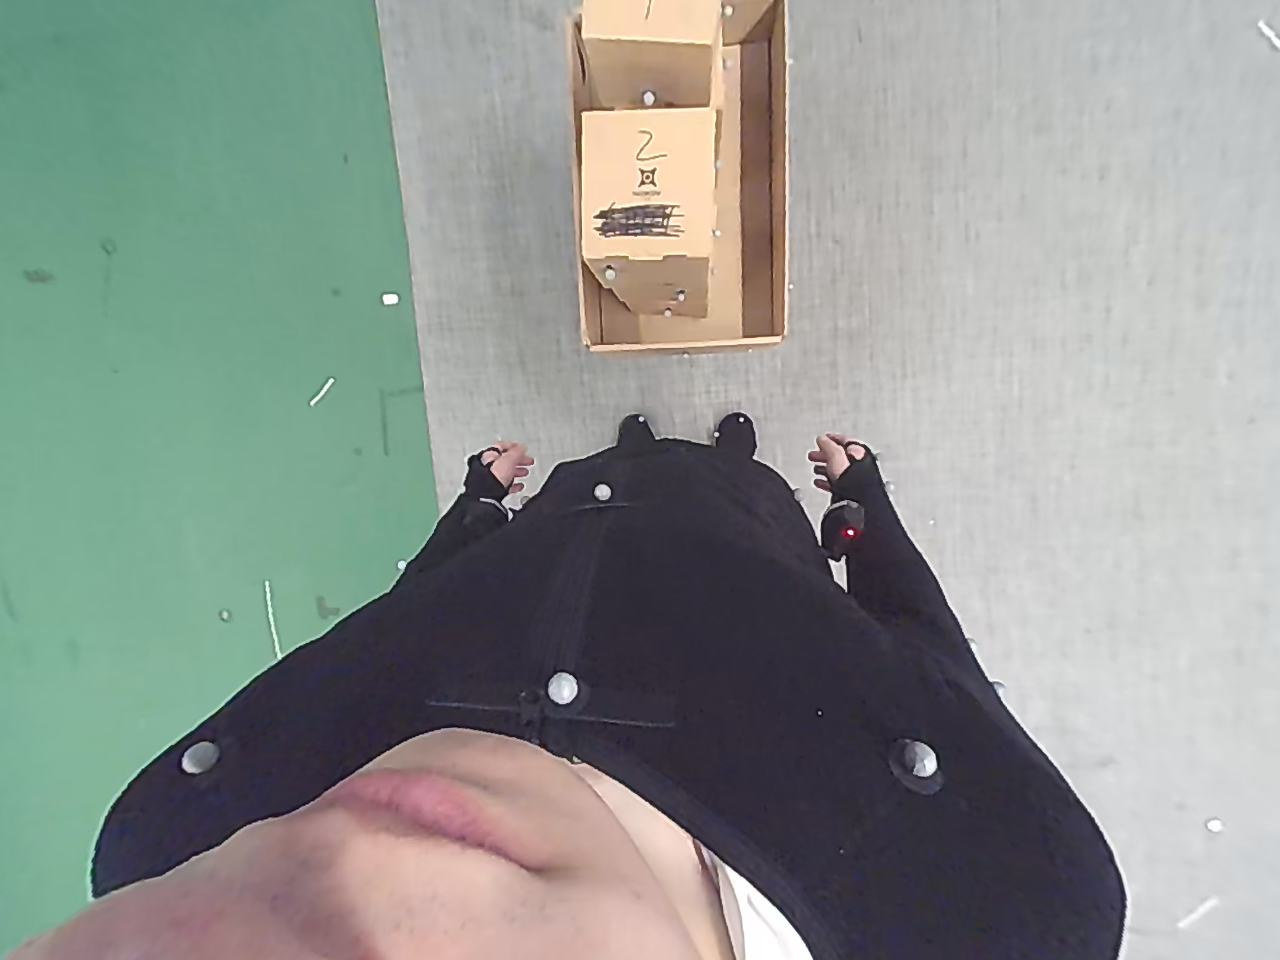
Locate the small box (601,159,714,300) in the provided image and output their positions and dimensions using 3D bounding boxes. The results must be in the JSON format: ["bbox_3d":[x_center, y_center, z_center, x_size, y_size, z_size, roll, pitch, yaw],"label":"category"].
[{"bbox_3d":[0.034,-0.407,0.904,0.168,0.176,0.179,4,97,5],"label":"small box"}]

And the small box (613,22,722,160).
[{"bbox_3d":[0.043,-0.649,0.875,0.168,0.176,0.179,-2,99,6],"label":"small box"}]

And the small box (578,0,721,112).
[{"bbox_3d":[0.021,-0.628,0.714,0.168,0.176,0.179,7,101,5],"label":"small box"}]
